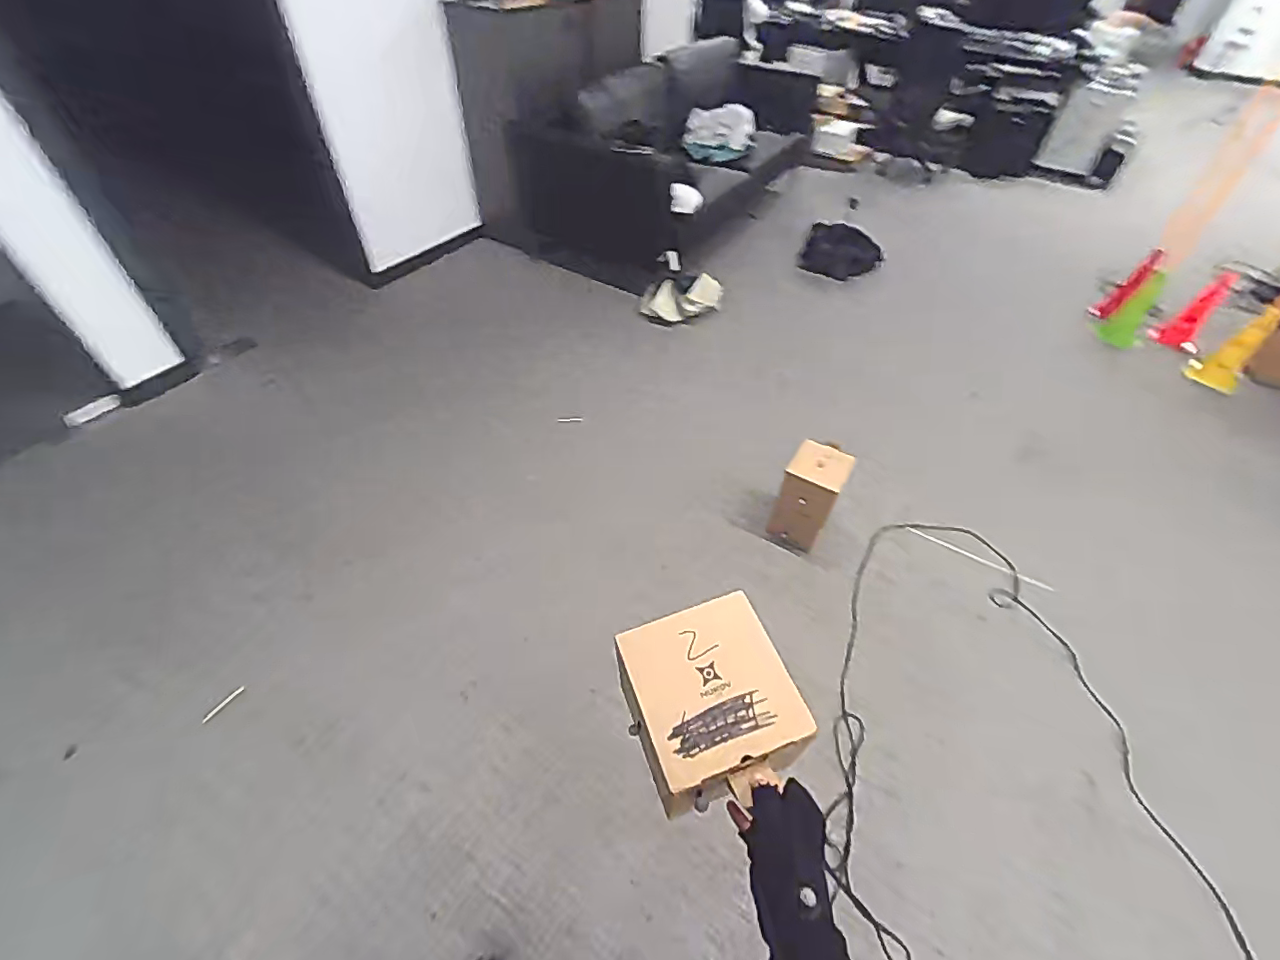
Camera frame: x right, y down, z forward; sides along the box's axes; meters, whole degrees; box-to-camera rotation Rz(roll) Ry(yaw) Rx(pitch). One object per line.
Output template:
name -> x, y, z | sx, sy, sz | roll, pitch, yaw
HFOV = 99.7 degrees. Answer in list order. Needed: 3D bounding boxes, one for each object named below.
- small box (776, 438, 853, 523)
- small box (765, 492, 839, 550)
small box -> 0.540, 0.005, 1.699 | 0.168, 0.176, 0.179 | 26, 52, 20
small box -> 0.543, 0.103, 1.832 | 0.168, 0.176, 0.179 | 28, 53, 23
